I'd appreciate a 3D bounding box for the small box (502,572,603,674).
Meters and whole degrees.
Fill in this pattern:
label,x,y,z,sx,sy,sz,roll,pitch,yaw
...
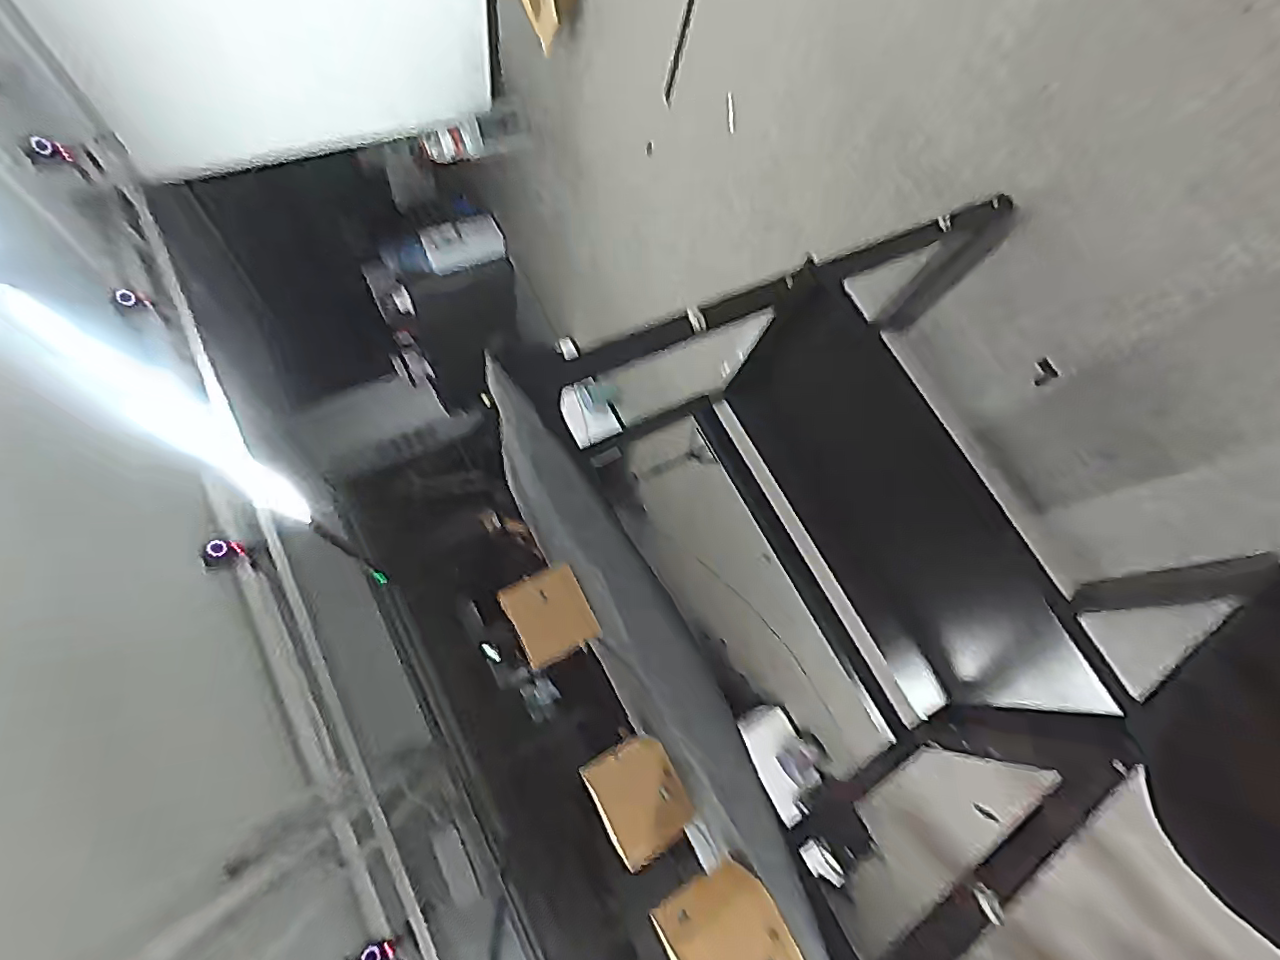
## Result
label,x,y,z,sx,sy,sz,roll,pitch,yaw
small box,-0.205,0.326,1.249,0.179,0.176,0.168,61,162,10

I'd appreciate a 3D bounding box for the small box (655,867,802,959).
label,x,y,z,sx,sy,sz,roll,pitch,yaw
small box,0.148,0.757,0.853,0.168,0.176,0.179,59,159,15
